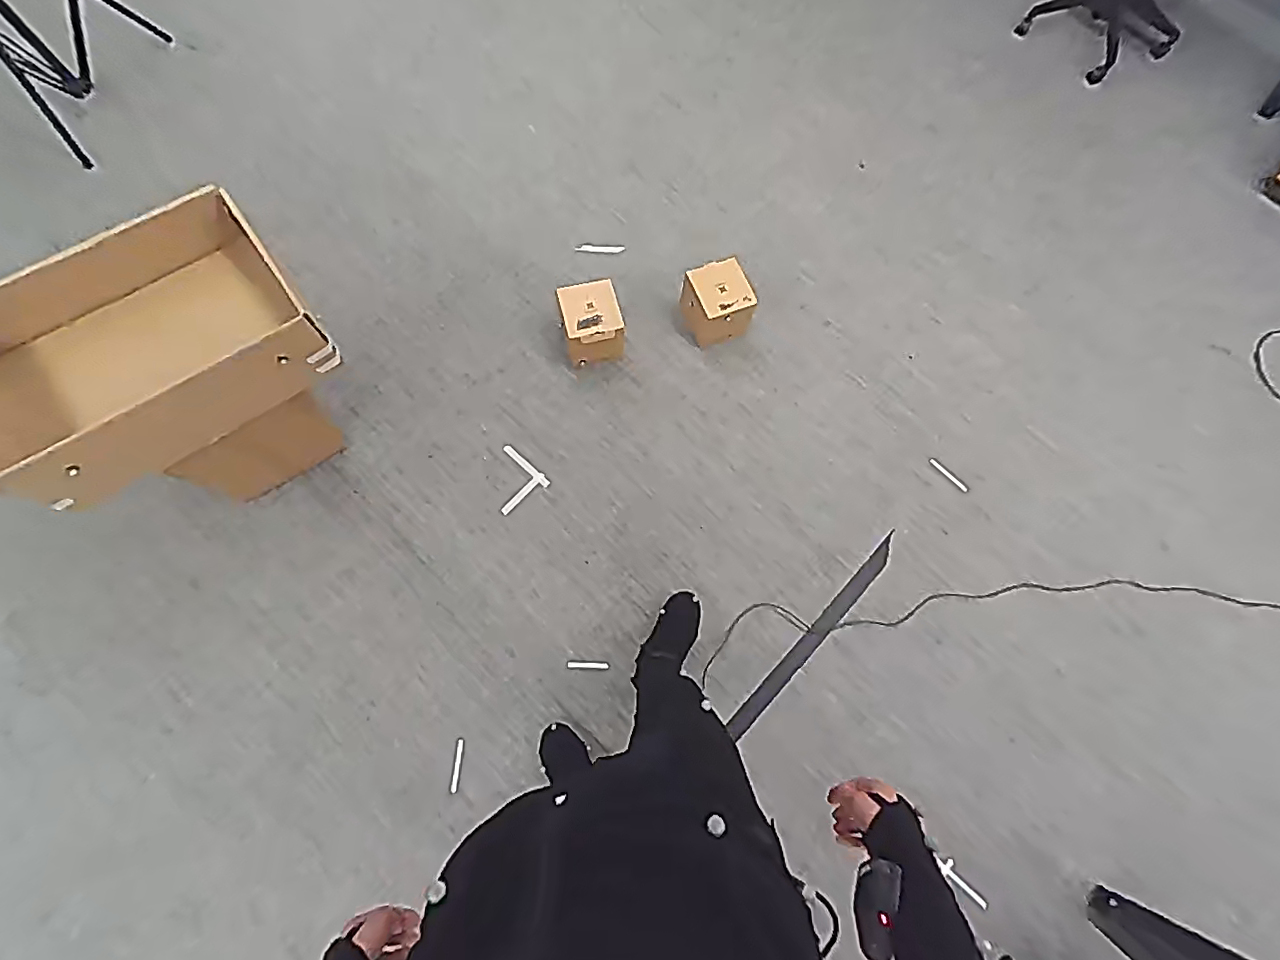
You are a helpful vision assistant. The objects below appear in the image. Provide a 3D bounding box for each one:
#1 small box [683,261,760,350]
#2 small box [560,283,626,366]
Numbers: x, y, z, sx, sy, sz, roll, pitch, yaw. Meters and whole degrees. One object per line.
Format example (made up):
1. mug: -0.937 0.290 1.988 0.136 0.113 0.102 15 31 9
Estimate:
1. small box: 0.245 -0.540 1.687 0.168 0.176 0.179 -20 74 -9
2. small box: -0.140 -0.462 1.638 0.168 0.176 0.179 -13 74 -8
